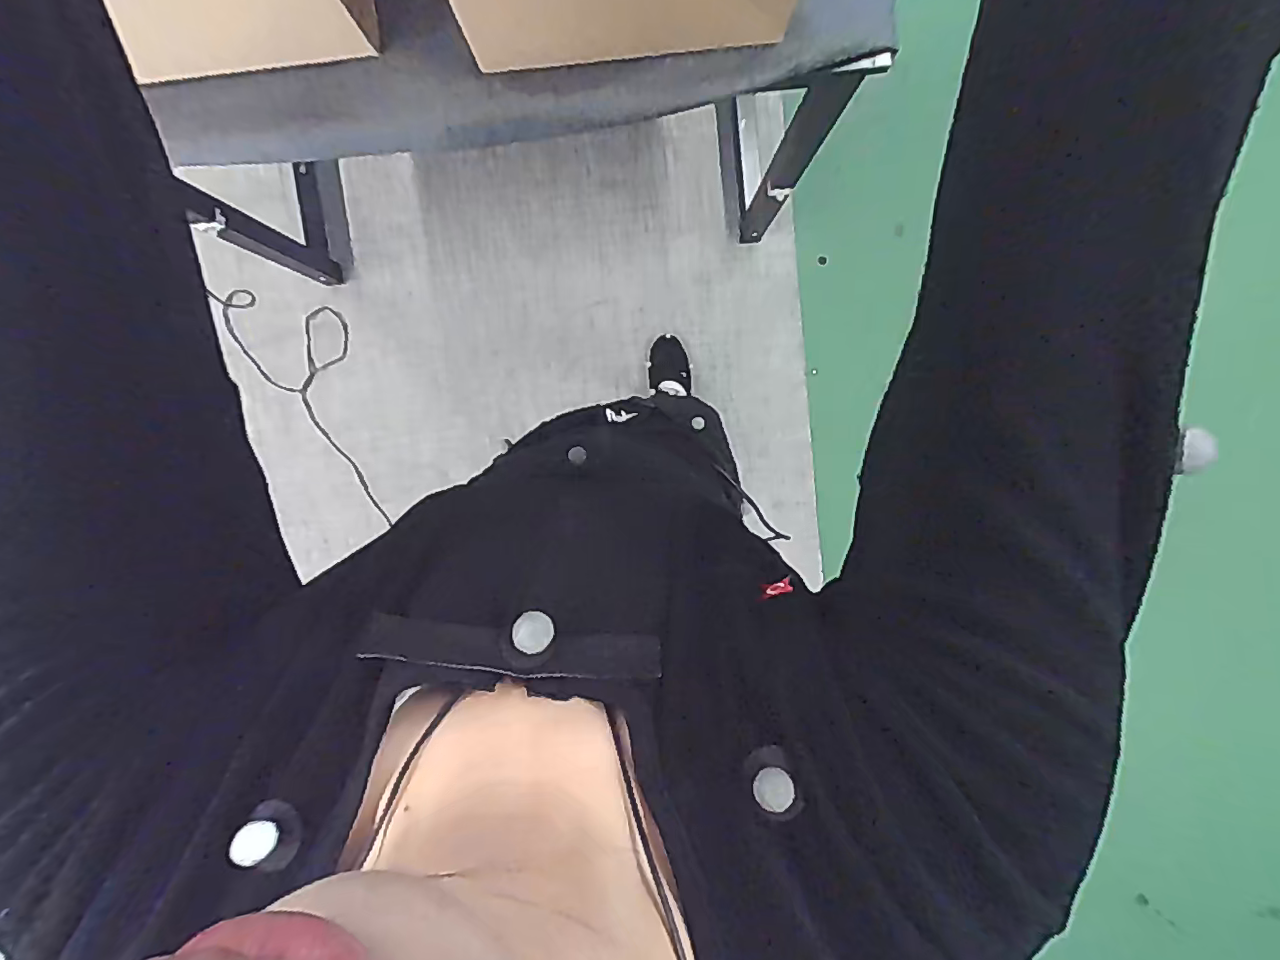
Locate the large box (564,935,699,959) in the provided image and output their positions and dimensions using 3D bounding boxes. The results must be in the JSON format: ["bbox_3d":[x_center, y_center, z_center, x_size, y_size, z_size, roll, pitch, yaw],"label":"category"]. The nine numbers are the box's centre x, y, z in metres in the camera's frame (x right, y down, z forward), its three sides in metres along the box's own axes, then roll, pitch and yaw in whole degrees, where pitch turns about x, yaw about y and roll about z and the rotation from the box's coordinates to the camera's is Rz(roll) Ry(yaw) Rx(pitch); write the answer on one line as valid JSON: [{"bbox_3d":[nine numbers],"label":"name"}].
[{"bbox_3d":[-0.010,1.567,1.507,0.408,0.320,0.320,-6,96,-1],"label":"large box"}]
